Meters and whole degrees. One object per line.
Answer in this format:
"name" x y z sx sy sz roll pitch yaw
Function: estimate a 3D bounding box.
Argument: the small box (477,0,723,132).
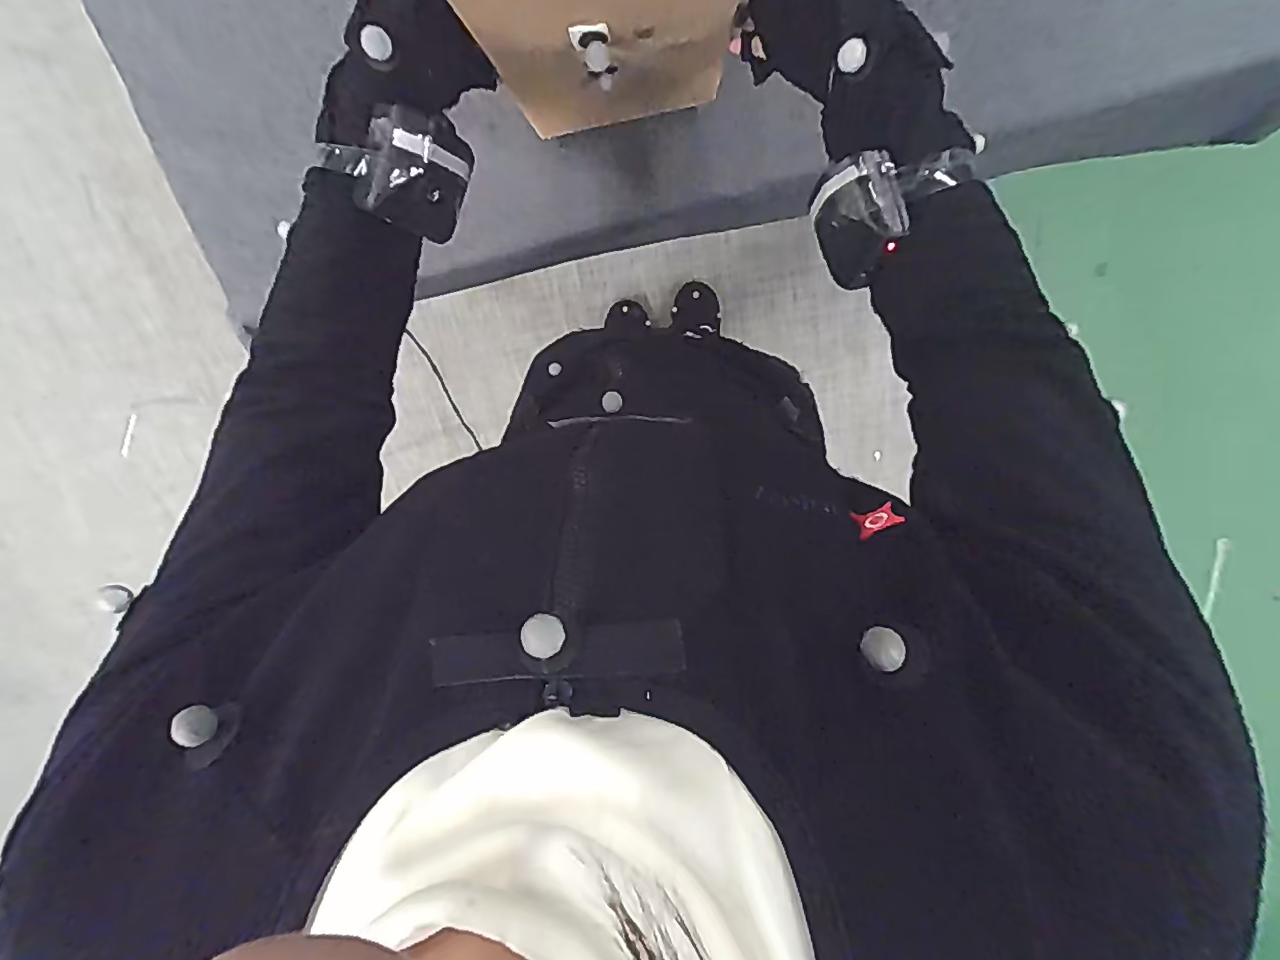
"small box" -0.035 -0.405 0.431 0.179 0.176 0.168 -8 107 4

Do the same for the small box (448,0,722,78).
"small box" -0.042 -0.351 0.278 0.168 0.176 0.179 -6 108 5
